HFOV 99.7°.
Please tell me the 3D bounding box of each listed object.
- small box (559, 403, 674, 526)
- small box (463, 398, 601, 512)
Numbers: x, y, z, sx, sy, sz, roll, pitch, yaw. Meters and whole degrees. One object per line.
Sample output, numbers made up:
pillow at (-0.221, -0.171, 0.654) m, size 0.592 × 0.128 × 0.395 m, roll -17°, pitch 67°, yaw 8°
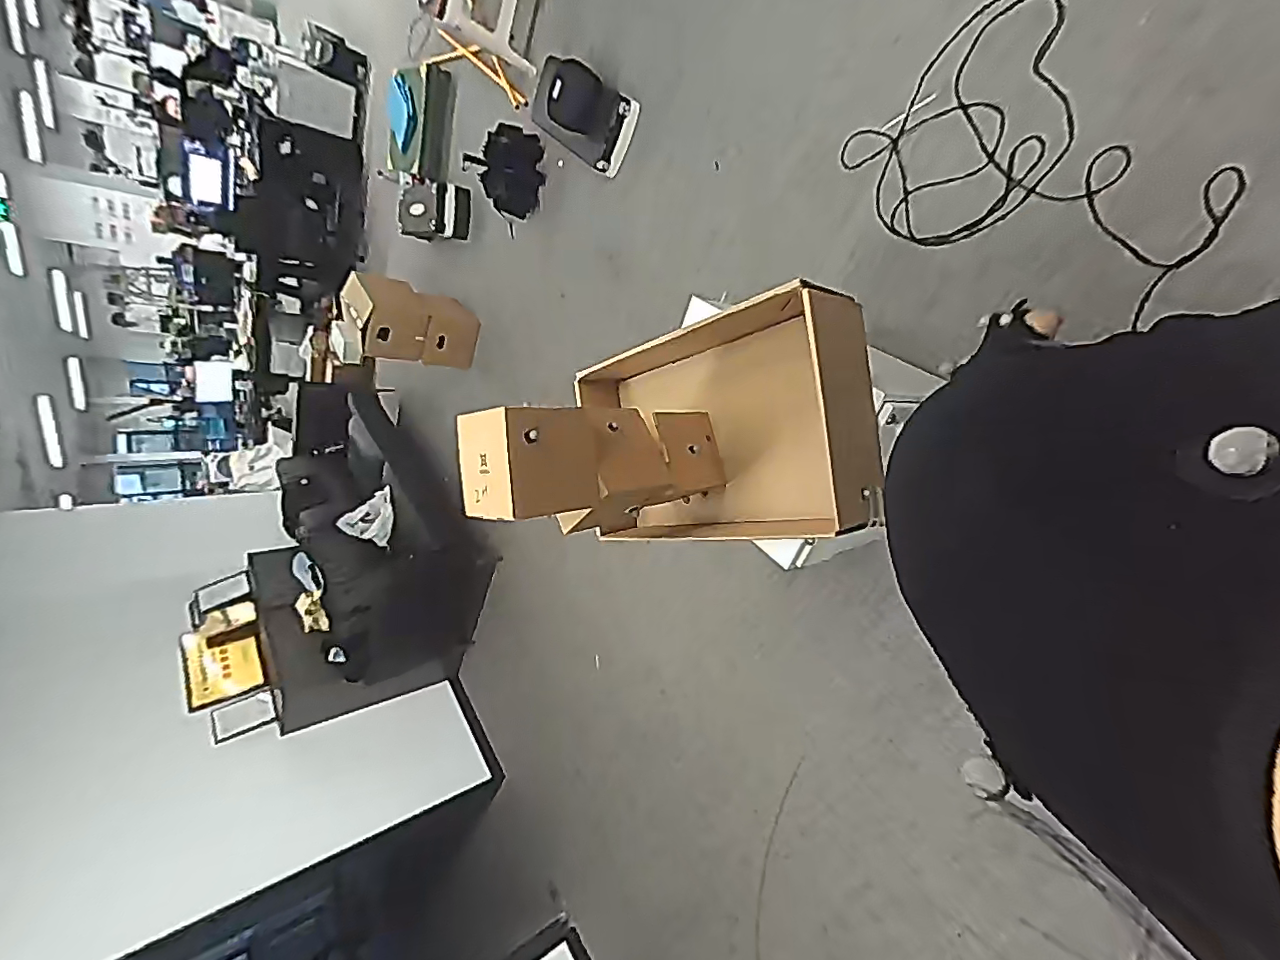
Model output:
small box at (-0.067, -0.033, 1.052) m, size 0.168 × 0.176 × 0.179 m, roll -43°, pitch 67°, yaw 42°
small box at (-0.185, -0.045, 0.934) m, size 0.168 × 0.176 × 0.179 m, roll 0°, pitch 96°, yaw 48°
